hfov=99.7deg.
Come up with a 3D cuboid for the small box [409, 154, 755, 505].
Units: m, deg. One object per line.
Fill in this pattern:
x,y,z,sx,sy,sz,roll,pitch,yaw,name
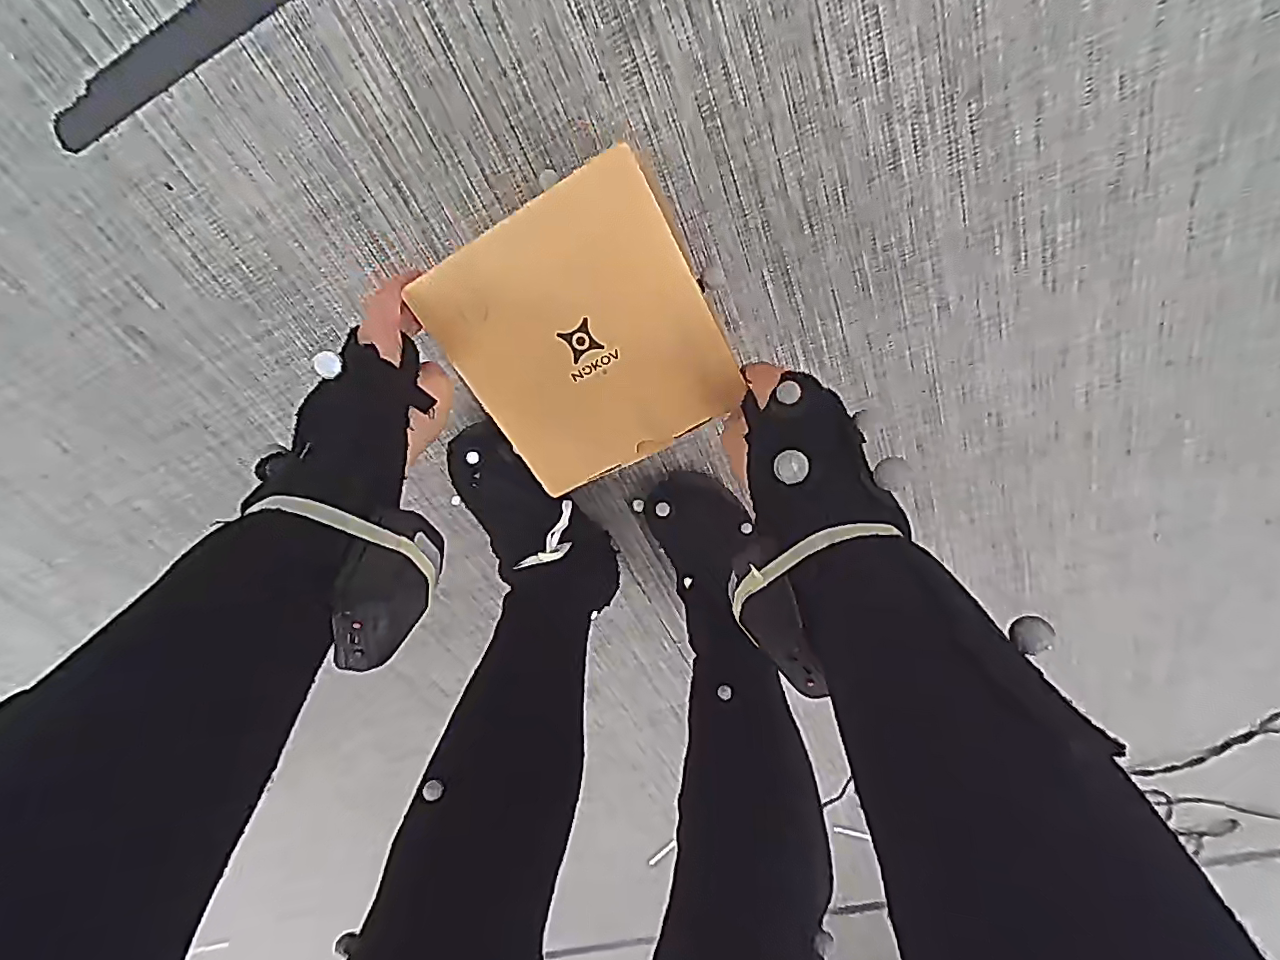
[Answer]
-0.033,-0.118,0.419,0.168,0.176,0.179,-26,117,15,small box
